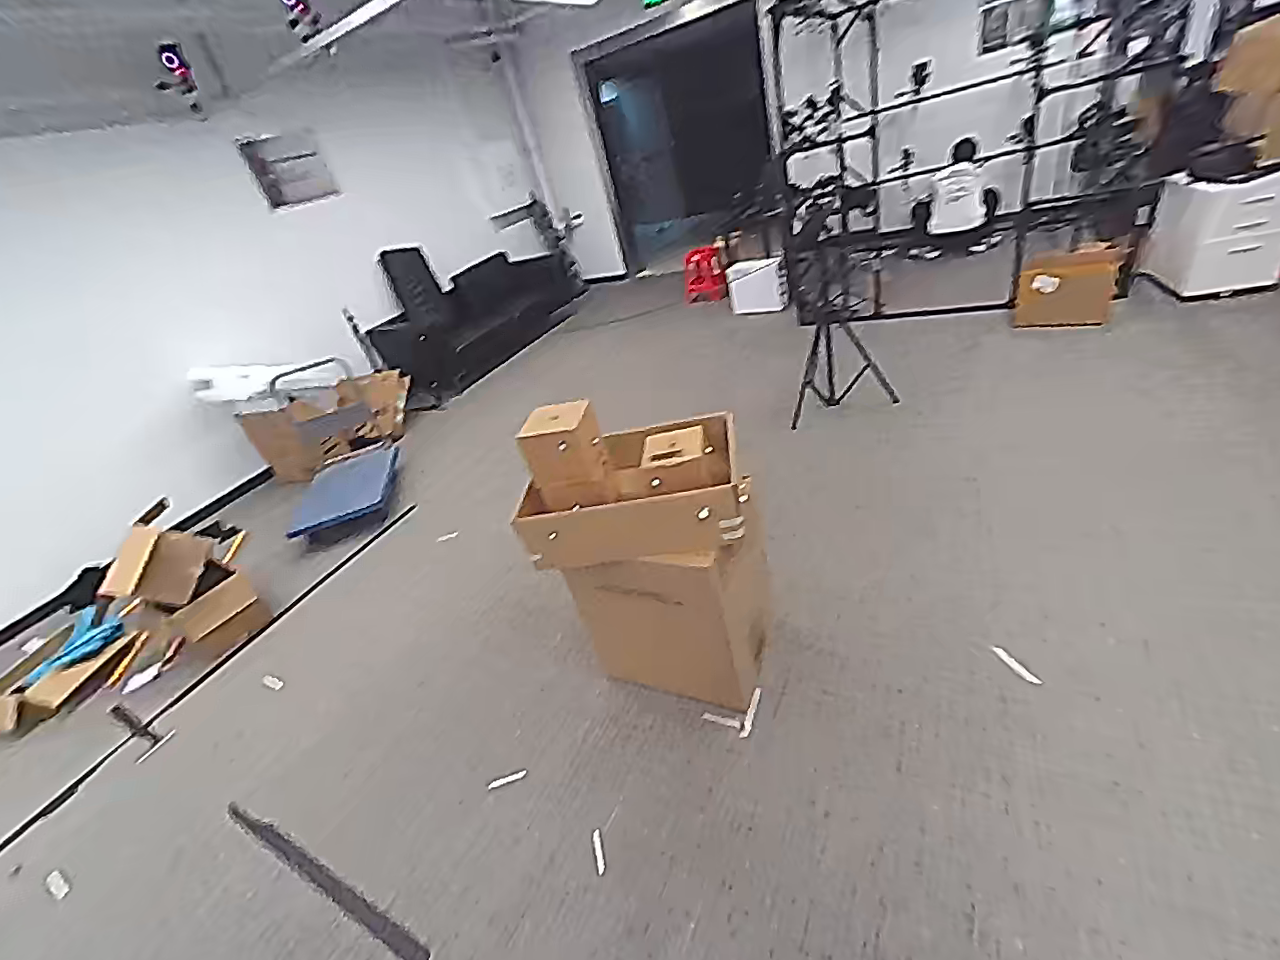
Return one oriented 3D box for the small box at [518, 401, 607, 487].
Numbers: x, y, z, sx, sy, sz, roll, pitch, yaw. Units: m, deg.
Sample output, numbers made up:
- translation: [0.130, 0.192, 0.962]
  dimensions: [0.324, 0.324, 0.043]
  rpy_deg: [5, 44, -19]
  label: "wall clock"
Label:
- translation: [-0.204, -0.098, 1.502]
  dimensions: [0.179, 0.176, 0.168]
  rpy_deg: [-7, 33, 17]
  label: "small box"
